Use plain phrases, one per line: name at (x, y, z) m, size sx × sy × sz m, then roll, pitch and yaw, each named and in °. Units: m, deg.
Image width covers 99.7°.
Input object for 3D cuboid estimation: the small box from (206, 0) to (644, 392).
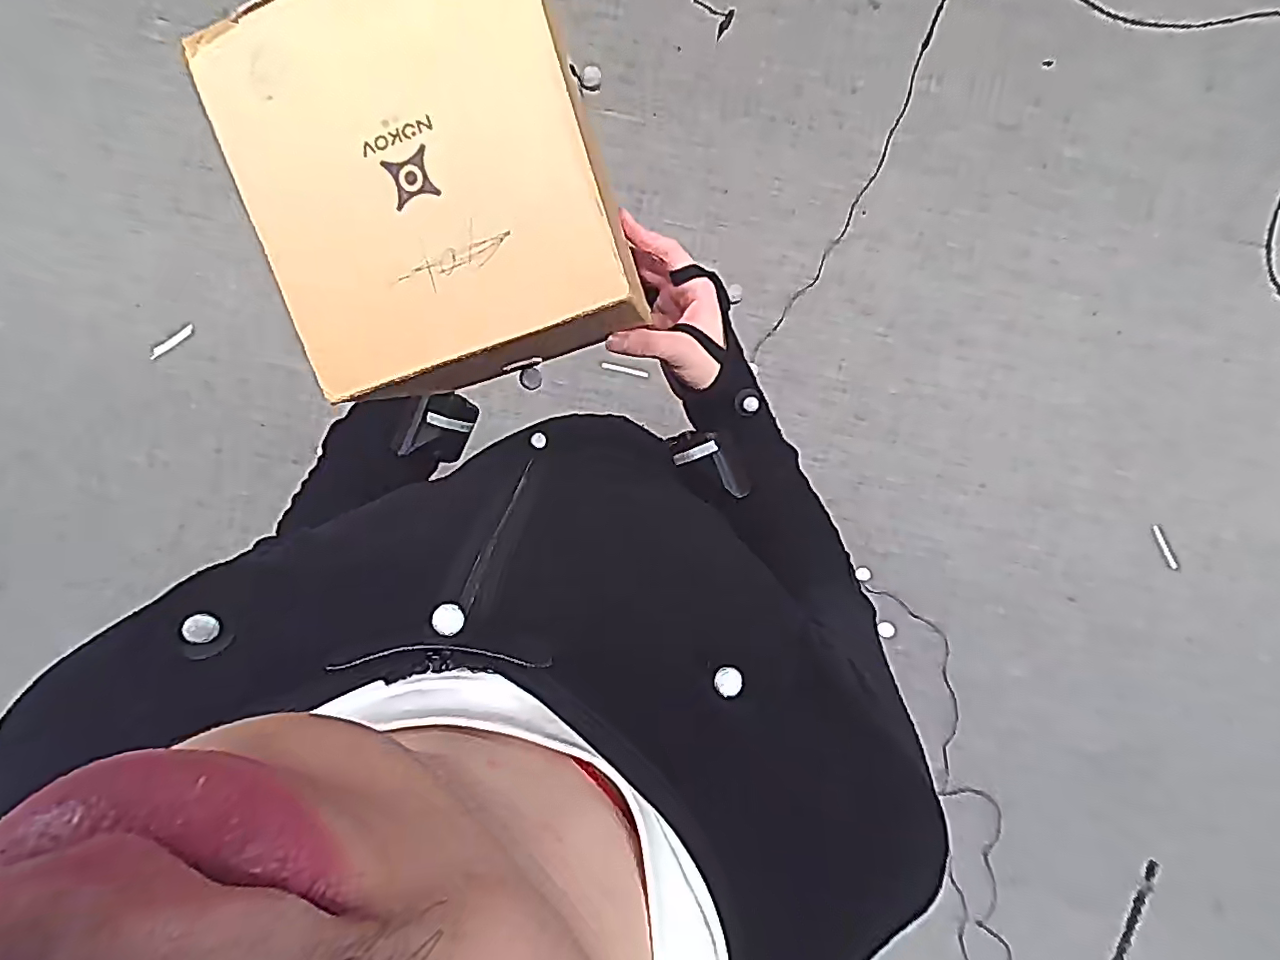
small box at (-0.101, -0.163, 0.341) m, size 0.168 × 0.176 × 0.179 m, roll -17°, pitch 100°, yaw 8°
